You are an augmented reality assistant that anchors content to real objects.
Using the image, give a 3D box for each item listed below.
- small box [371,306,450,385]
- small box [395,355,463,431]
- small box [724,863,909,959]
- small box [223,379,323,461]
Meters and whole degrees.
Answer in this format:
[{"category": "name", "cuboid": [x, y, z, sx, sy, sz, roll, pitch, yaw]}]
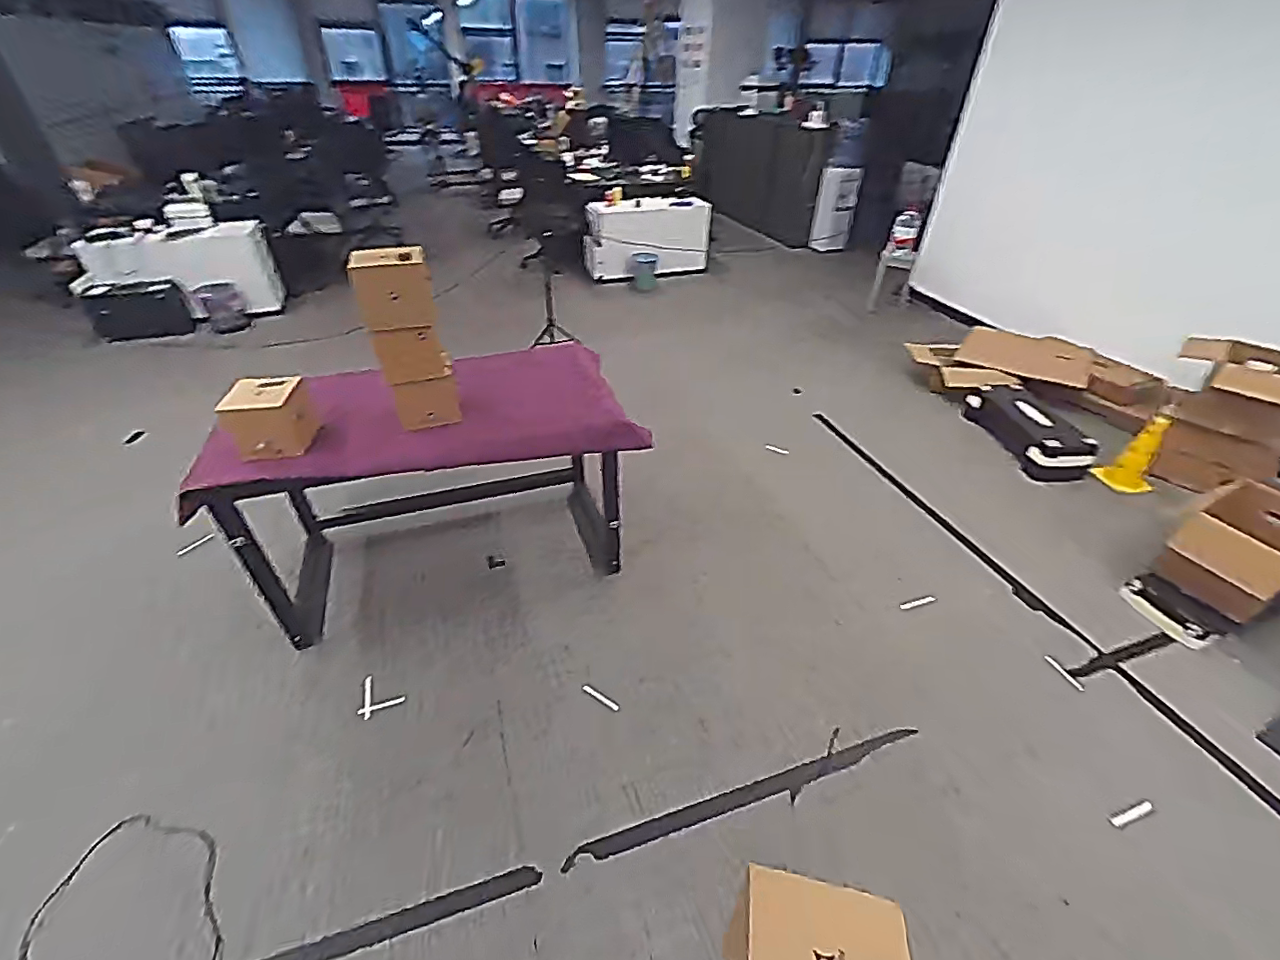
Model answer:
[{"category": "small box", "cuboid": [-0.669, -0.391, 1.578, 0.179, 0.176, 0.168, -13, 39, -17]}, {"category": "small box", "cuboid": [-0.657, -0.272, 1.691, 0.179, 0.176, 0.168, -13, 39, -18]}, {"category": "small box", "cuboid": [0.185, 0.570, 0.592, 0.179, 0.176, 0.168, 11, 29, 7]}, {"category": "small box", "cuboid": [-1.040, -0.173, 1.554, 0.168, 0.176, 0.179, -5, 39, -8]}]
